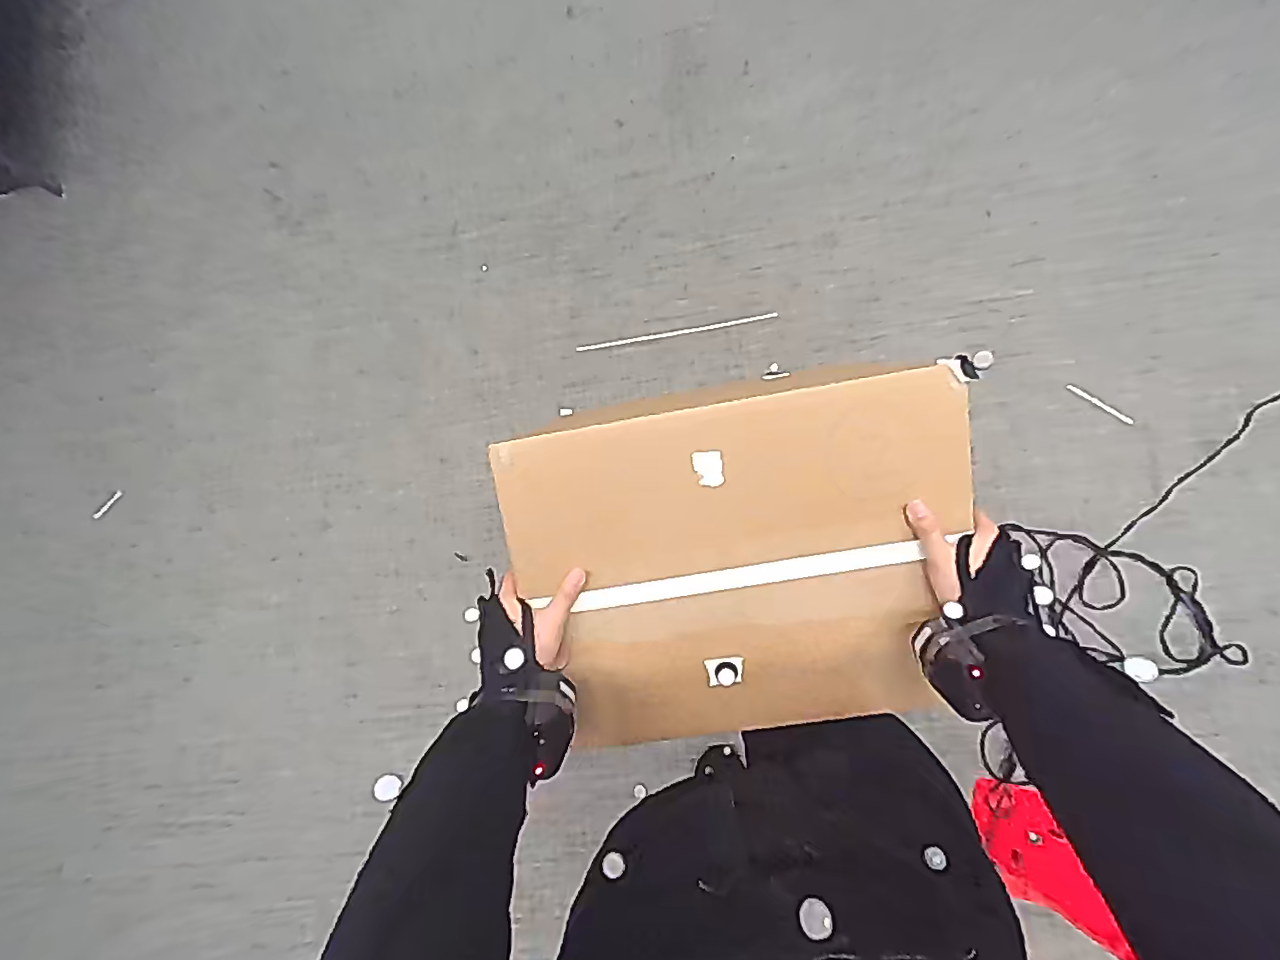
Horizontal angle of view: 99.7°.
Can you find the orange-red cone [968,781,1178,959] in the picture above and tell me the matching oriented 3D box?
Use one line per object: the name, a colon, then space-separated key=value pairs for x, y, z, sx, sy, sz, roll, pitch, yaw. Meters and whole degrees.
orange-red cone: x=0.704 y=0.657 z=0.837 sx=0.199 sy=0.360 sz=0.198 roll=13 pitch=84 yaw=9
